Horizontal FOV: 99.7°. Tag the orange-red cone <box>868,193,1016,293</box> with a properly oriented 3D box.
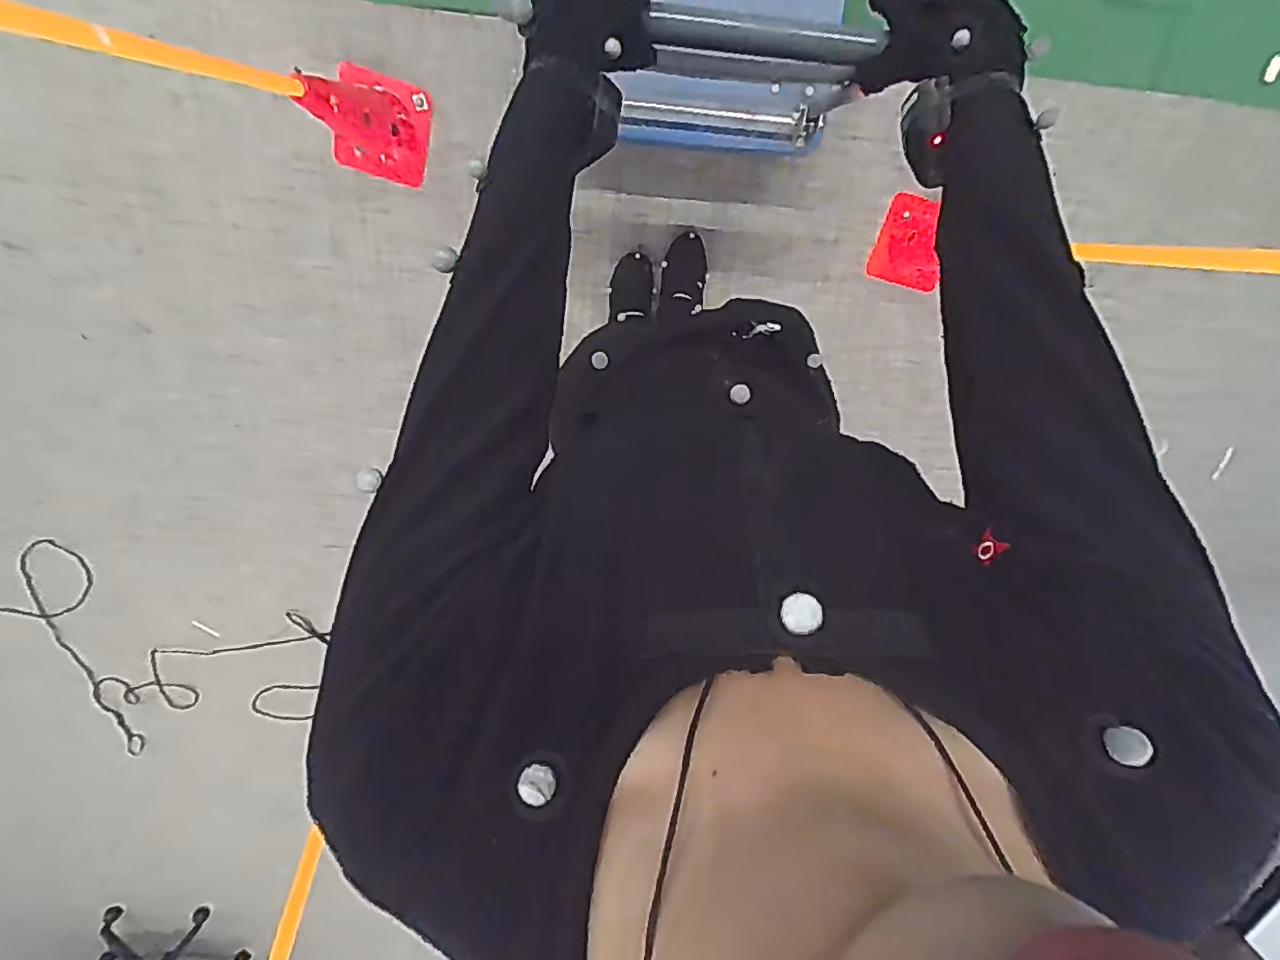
[{"bbox_3d":[0.698,-0.517,1.194,0.198,0.360,0.199,14,113,-8],"label":"orange-red cone"}]
